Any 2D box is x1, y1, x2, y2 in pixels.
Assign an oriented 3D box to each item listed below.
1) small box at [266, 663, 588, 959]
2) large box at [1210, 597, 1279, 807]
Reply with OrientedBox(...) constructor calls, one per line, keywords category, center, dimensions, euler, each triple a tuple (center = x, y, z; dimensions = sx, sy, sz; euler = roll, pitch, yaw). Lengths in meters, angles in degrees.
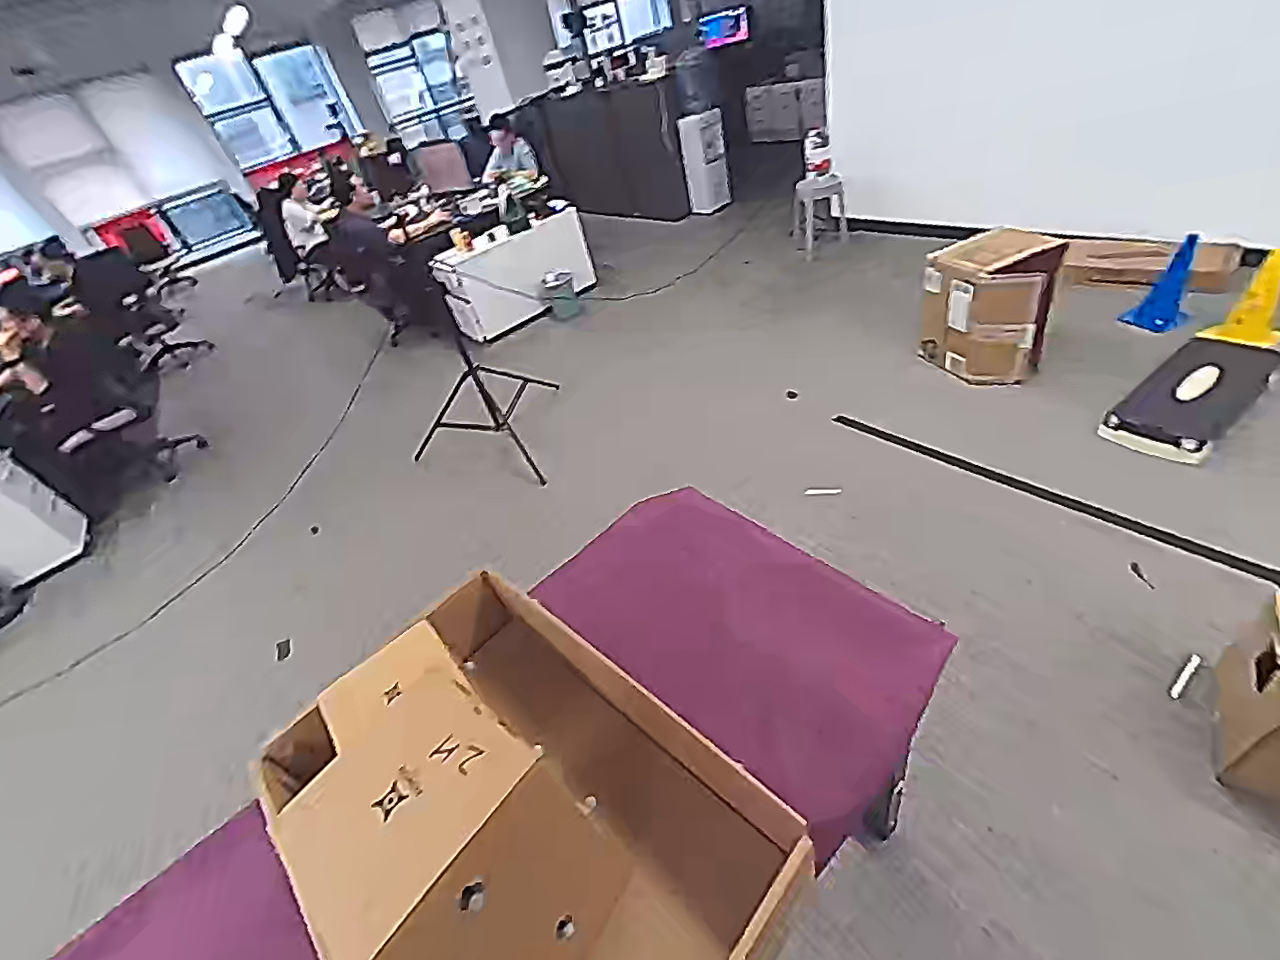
OrientedBox(category="small box", center=(-0.173, 0.310, 0.480), dimensions=(0.168, 0.176, 0.179), euler=(19, 50, 38))
OrientedBox(category="large box", center=(1.453, 0.490, 1.050), dimensions=(0.408, 0.320, 0.320), euler=(13, 48, 33))
